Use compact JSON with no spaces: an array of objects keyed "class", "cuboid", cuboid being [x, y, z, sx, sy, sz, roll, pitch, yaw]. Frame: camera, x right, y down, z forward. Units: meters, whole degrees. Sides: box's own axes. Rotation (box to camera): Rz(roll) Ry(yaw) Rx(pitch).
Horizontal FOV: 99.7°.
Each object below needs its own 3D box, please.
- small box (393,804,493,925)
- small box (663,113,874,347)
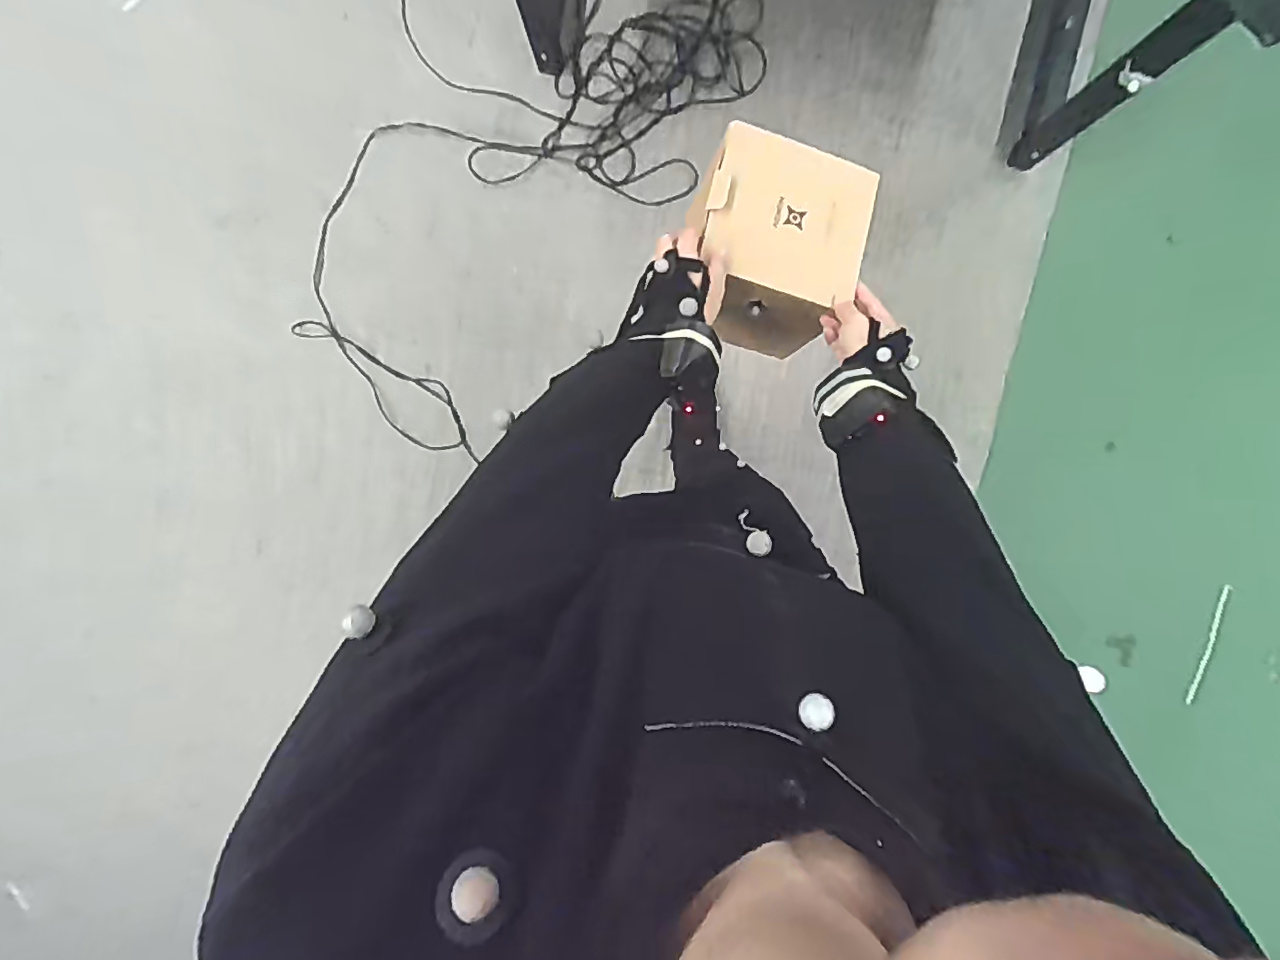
[{"class":"small box","cuboid":[-0.482,0.949,1.349,0.179,0.176,0.168,11,95,1]},{"class":"small box","cuboid":[0.137,-0.274,0.637,0.179,0.176,0.168,14,84,-9]}]
